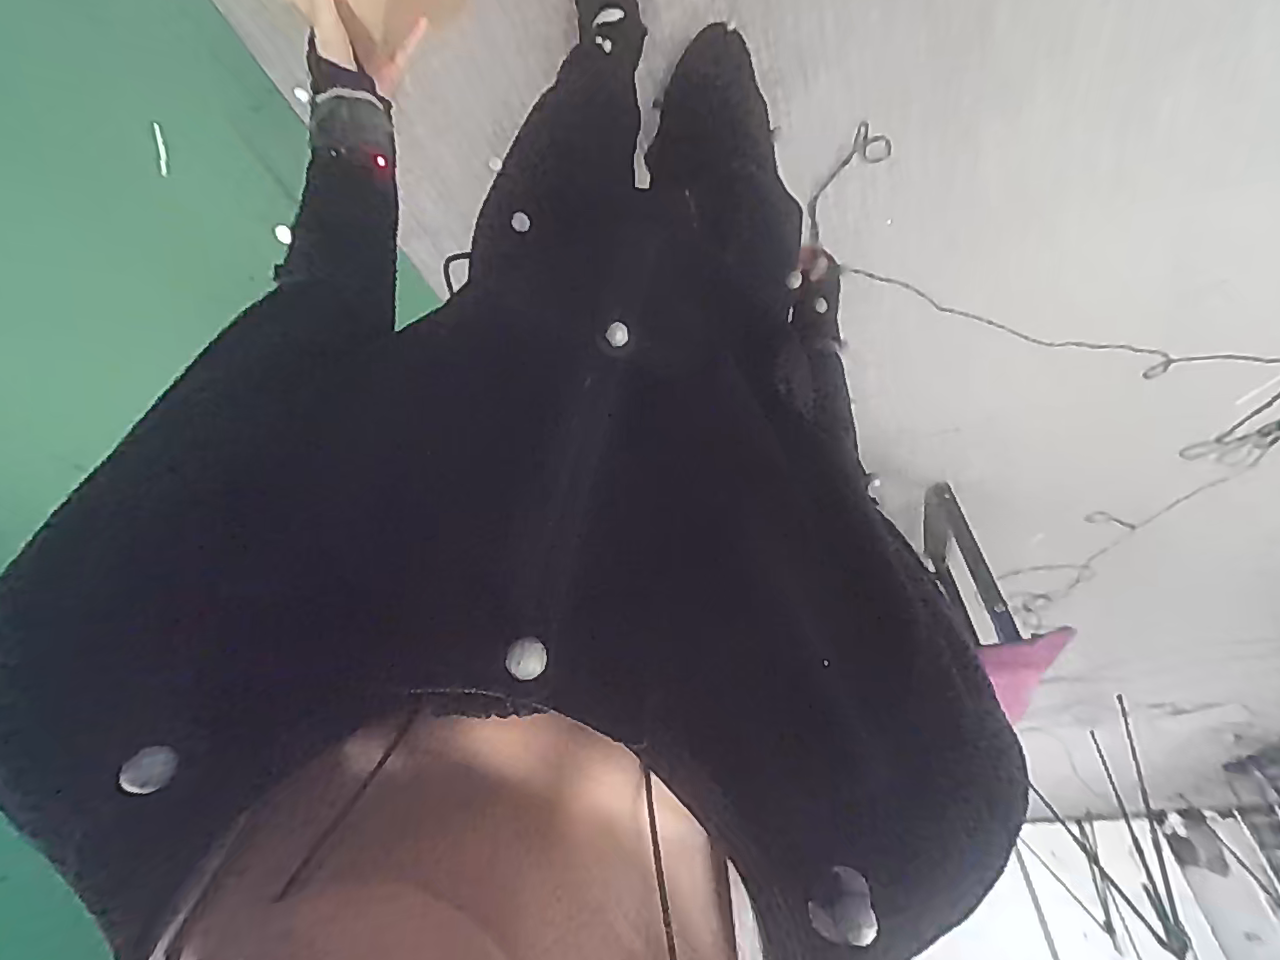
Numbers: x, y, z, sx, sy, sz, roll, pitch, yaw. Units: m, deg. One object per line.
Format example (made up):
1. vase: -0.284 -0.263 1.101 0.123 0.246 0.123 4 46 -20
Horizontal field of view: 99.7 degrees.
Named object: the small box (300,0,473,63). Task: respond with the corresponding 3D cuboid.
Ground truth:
1. small box: -0.233 -0.517 0.456 0.179 0.176 0.168 38 145 -21
